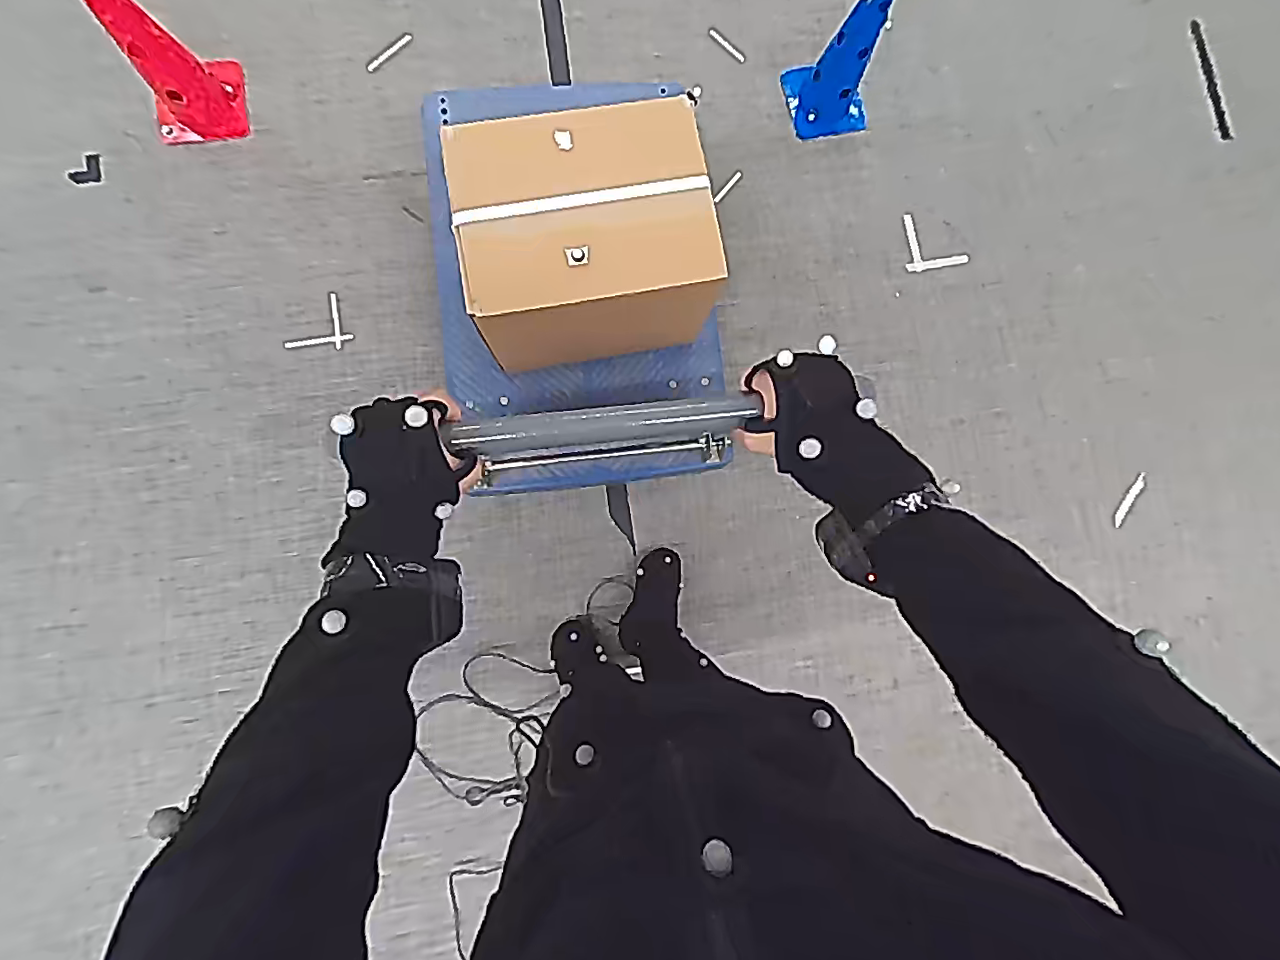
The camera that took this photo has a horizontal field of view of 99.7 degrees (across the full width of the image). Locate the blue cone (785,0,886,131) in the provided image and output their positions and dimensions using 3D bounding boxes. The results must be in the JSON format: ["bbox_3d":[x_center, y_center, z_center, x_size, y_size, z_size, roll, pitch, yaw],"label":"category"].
[{"bbox_3d":[0.501,-1.029,1.261,0.193,0.380,0.192,-12,85,-6],"label":"blue cone"}]
